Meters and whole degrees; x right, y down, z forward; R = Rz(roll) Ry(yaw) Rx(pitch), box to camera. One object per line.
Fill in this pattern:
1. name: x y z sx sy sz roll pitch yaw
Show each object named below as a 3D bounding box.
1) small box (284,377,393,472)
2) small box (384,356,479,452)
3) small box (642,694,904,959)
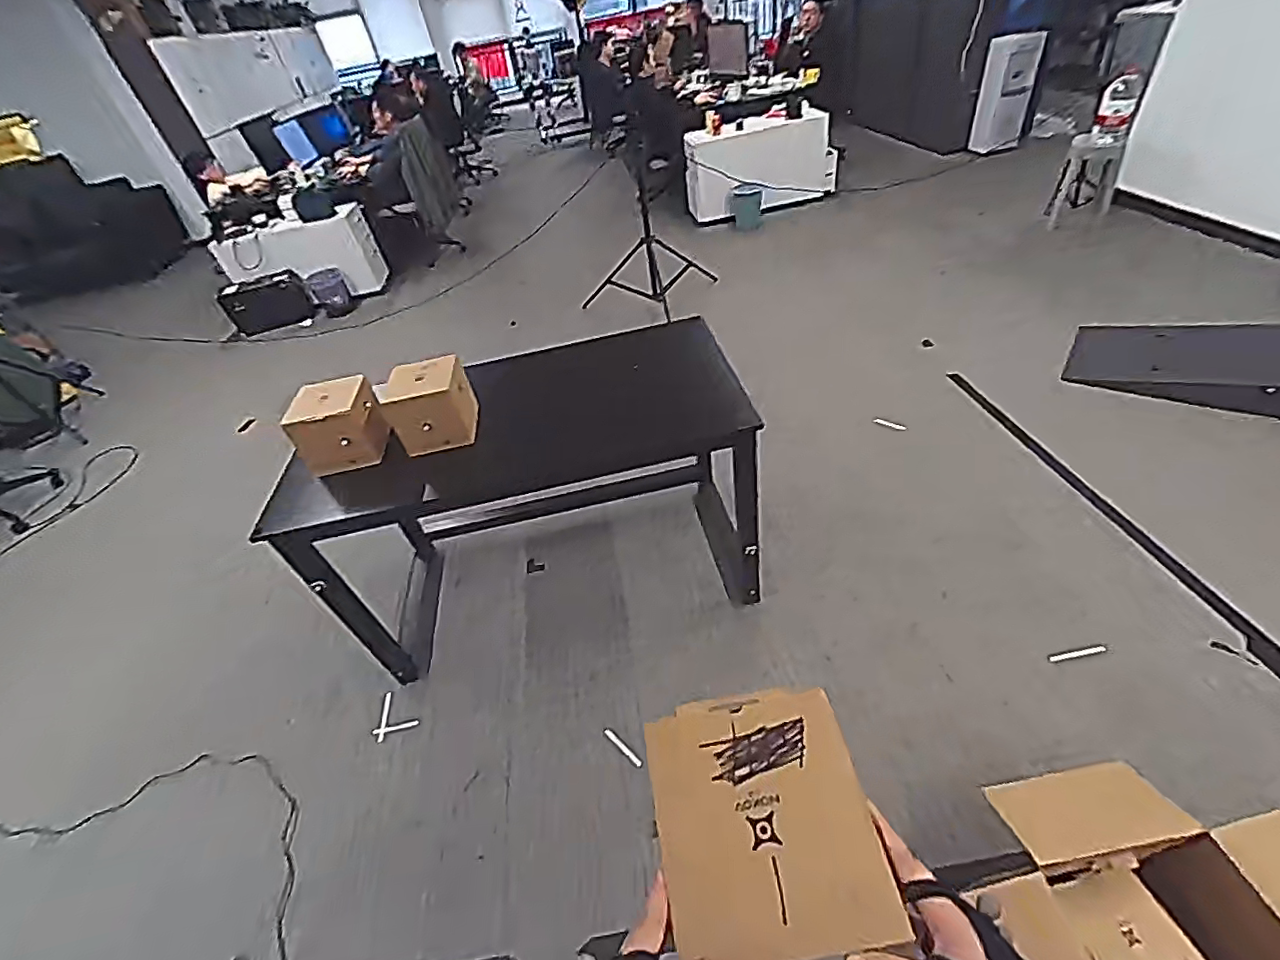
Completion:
1. small box: -0.756 -0.135 1.379 0.168 0.176 0.179 -12 41 -2
2. small box: -0.522 -0.187 1.380 0.168 0.176 0.179 -12 42 -1
3. small box: 0.098 0.317 0.483 0.168 0.176 0.179 -10 49 0
